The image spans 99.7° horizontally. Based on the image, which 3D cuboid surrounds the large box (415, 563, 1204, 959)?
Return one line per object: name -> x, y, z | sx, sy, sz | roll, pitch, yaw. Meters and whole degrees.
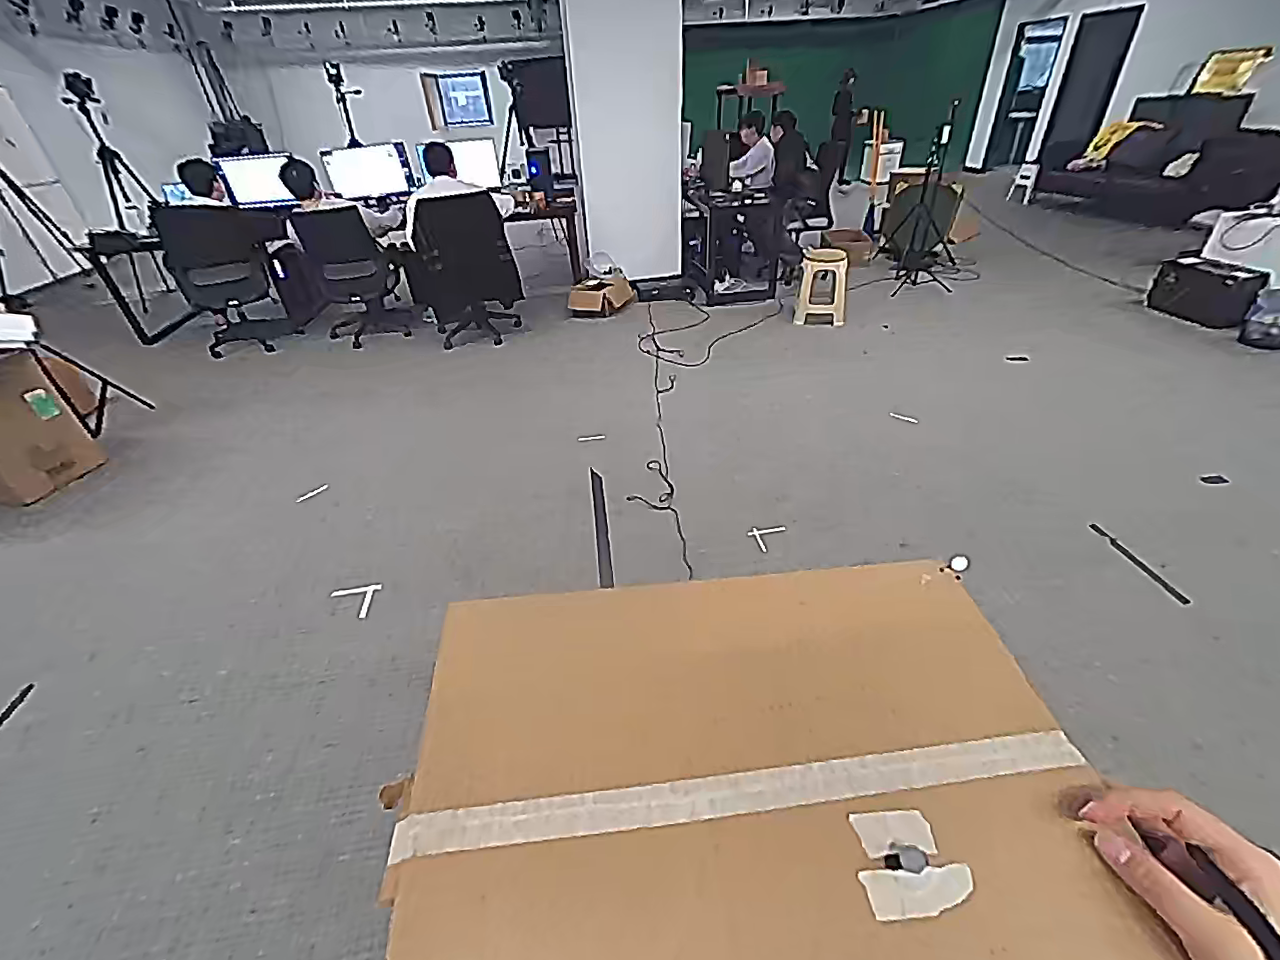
large box -> 0.070, 0.296, 0.431 | 0.408, 0.320, 0.320 | -3, 43, -6
